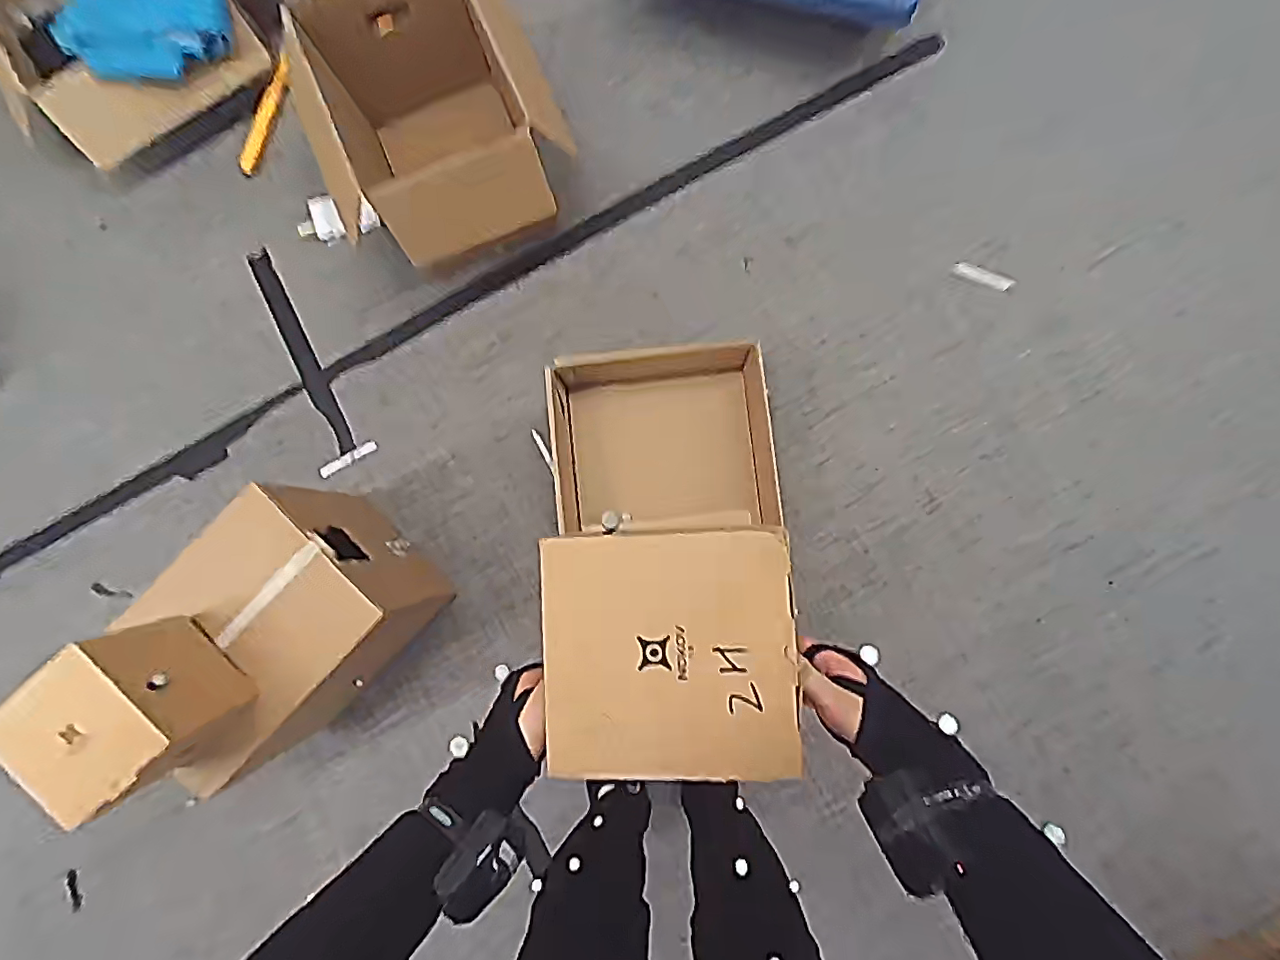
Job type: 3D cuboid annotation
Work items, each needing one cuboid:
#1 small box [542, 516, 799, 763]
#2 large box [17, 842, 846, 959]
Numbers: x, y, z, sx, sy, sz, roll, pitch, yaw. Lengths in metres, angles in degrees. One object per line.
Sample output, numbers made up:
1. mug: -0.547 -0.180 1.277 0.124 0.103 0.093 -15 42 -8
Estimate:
1. small box: 0.027 0.117 0.455 0.179 0.176 0.168 -3 86 6
2. large box: -0.071 0.387 0.144 0.320 0.408 0.320 8 121 -12
